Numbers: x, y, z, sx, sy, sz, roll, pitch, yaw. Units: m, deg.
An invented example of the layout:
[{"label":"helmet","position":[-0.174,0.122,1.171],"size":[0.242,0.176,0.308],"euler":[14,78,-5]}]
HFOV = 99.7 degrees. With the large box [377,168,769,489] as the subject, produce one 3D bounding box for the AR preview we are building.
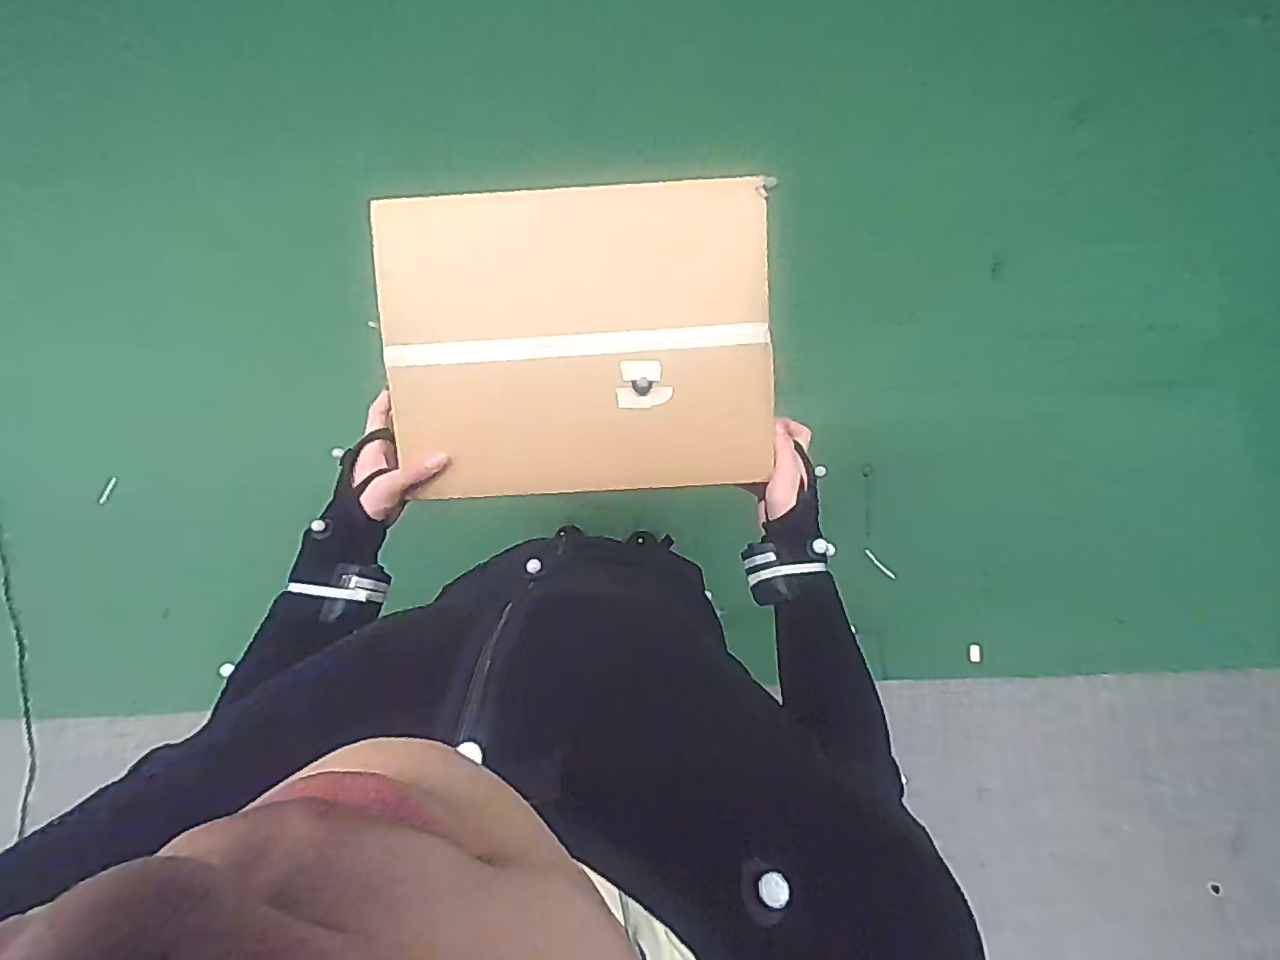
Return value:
[{"label":"large box","position":[-0.068,-0.173,0.722],"size":[0.408,0.320,0.320],"euler":[-3,98,0]}]
